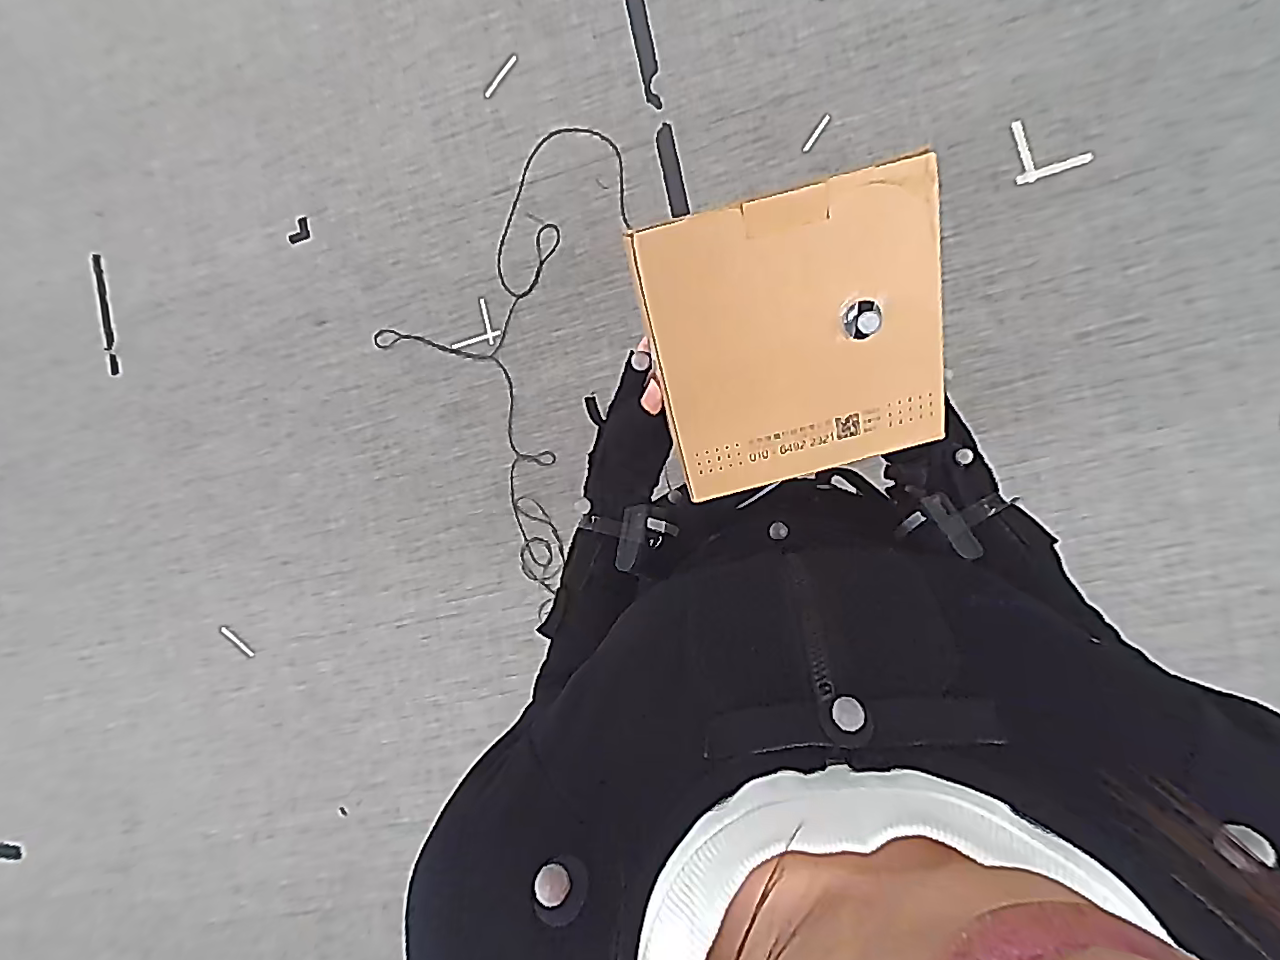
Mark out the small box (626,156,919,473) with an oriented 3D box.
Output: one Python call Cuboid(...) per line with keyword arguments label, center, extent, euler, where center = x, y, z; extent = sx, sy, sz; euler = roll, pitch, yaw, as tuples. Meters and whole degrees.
Cuboid(label="small box", center=(0.090, -0.117, 0.408), extent=(0.168, 0.179, 0.176), euler=(-14, 114, 3))
